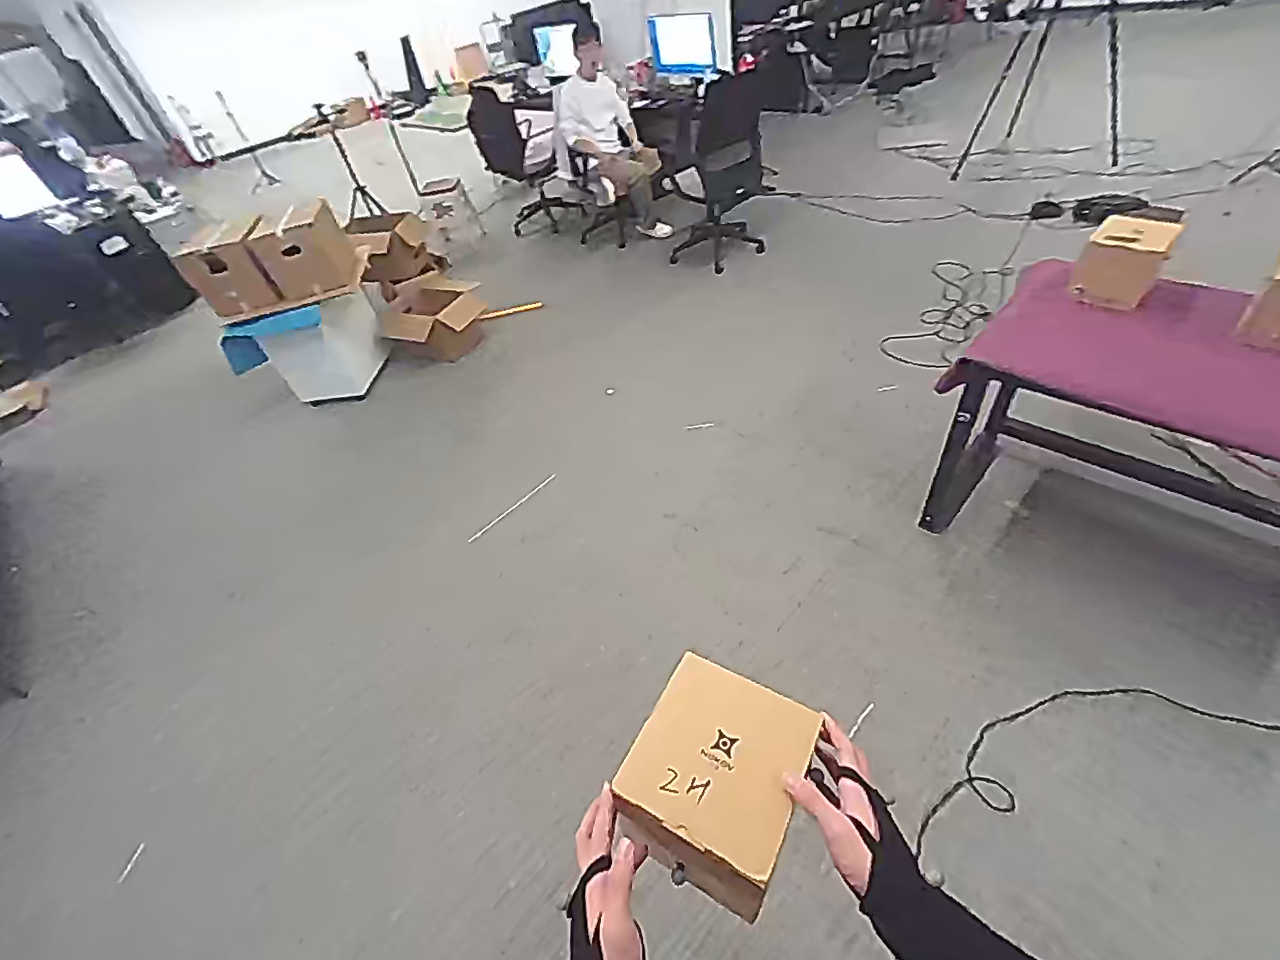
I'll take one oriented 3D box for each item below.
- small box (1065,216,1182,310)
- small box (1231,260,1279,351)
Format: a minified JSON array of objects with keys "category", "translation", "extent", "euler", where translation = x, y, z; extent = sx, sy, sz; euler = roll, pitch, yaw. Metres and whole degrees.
[{"category":"small box","translation":[1.304,-0.590,1.473],"extent":[0.179,0.176,0.168],"euler":[-39,51,-23]},{"category":"small box","translation":[1.538,-0.411,1.252],"extent":[0.179,0.176,0.168],"euler":[-40,50,-24]}]
